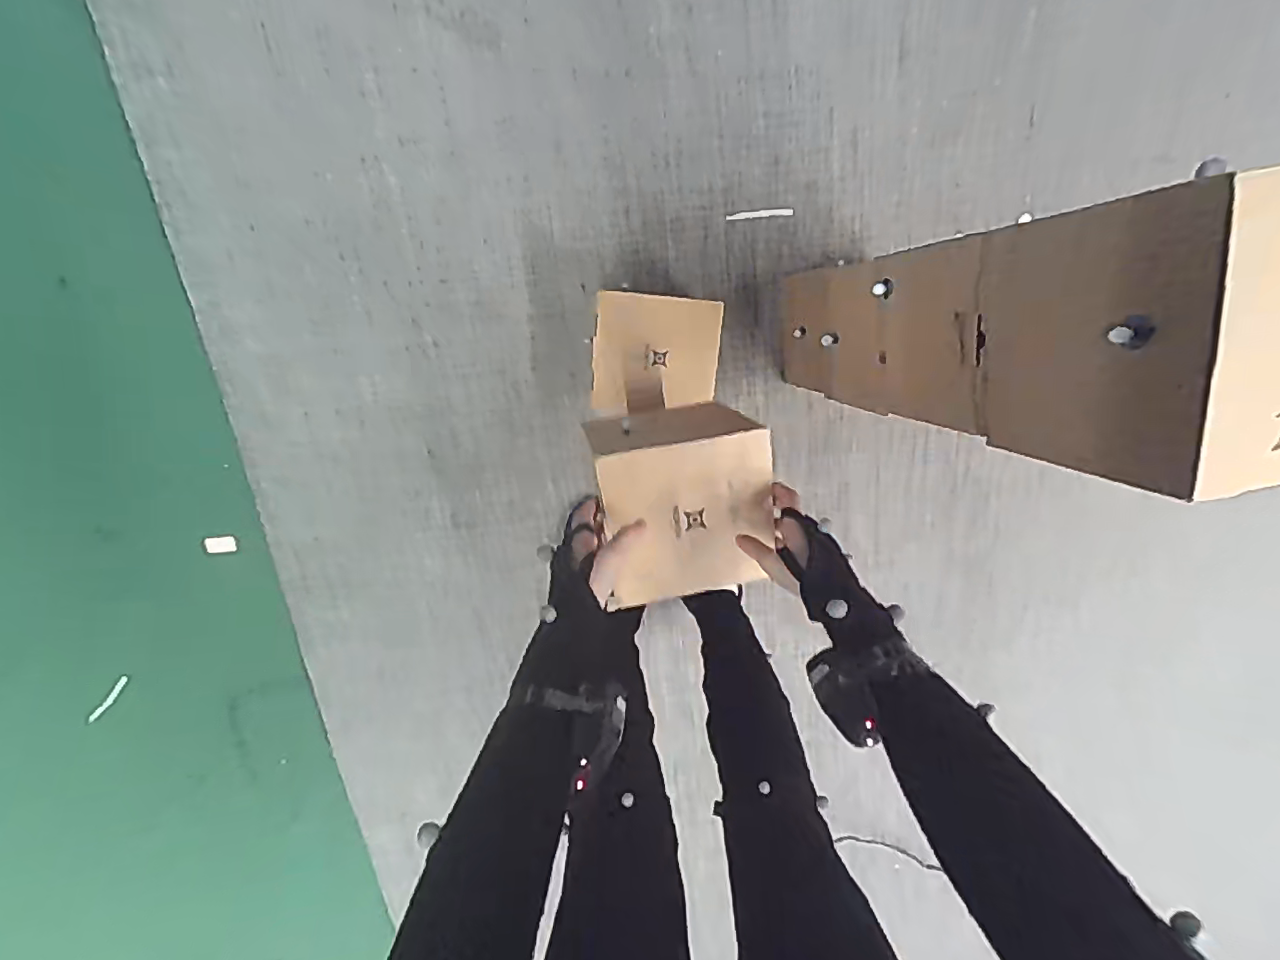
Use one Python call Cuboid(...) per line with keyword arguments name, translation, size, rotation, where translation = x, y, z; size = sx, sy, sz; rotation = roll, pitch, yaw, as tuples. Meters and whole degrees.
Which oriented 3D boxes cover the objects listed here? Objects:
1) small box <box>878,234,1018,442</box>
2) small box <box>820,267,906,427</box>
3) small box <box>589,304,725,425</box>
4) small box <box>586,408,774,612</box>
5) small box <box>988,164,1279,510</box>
Cuboid(name="small box", translation=(0.348, -0.139, 0.521), size=(0.179, 0.176, 0.168), rotation=(-9, 105, -4))
Cuboid(name="small box", translation=(0.341, -0.177, 0.681), size=(0.168, 0.176, 0.179), rotation=(-10, 106, -4))
Cuboid(name="small box", translation=(0.016, -0.171, 0.820), size=(0.179, 0.176, 0.168), rotation=(4, 105, -6))
Cuboid(name="small box", translation=(0.035, 0.022, 0.607), size=(0.179, 0.176, 0.168), rotation=(-9, 109, -7))
Cuboid(name="small box", translation=(0.367, -0.098, 0.362), size=(0.168, 0.176, 0.179), rotation=(-10, 105, -2))
